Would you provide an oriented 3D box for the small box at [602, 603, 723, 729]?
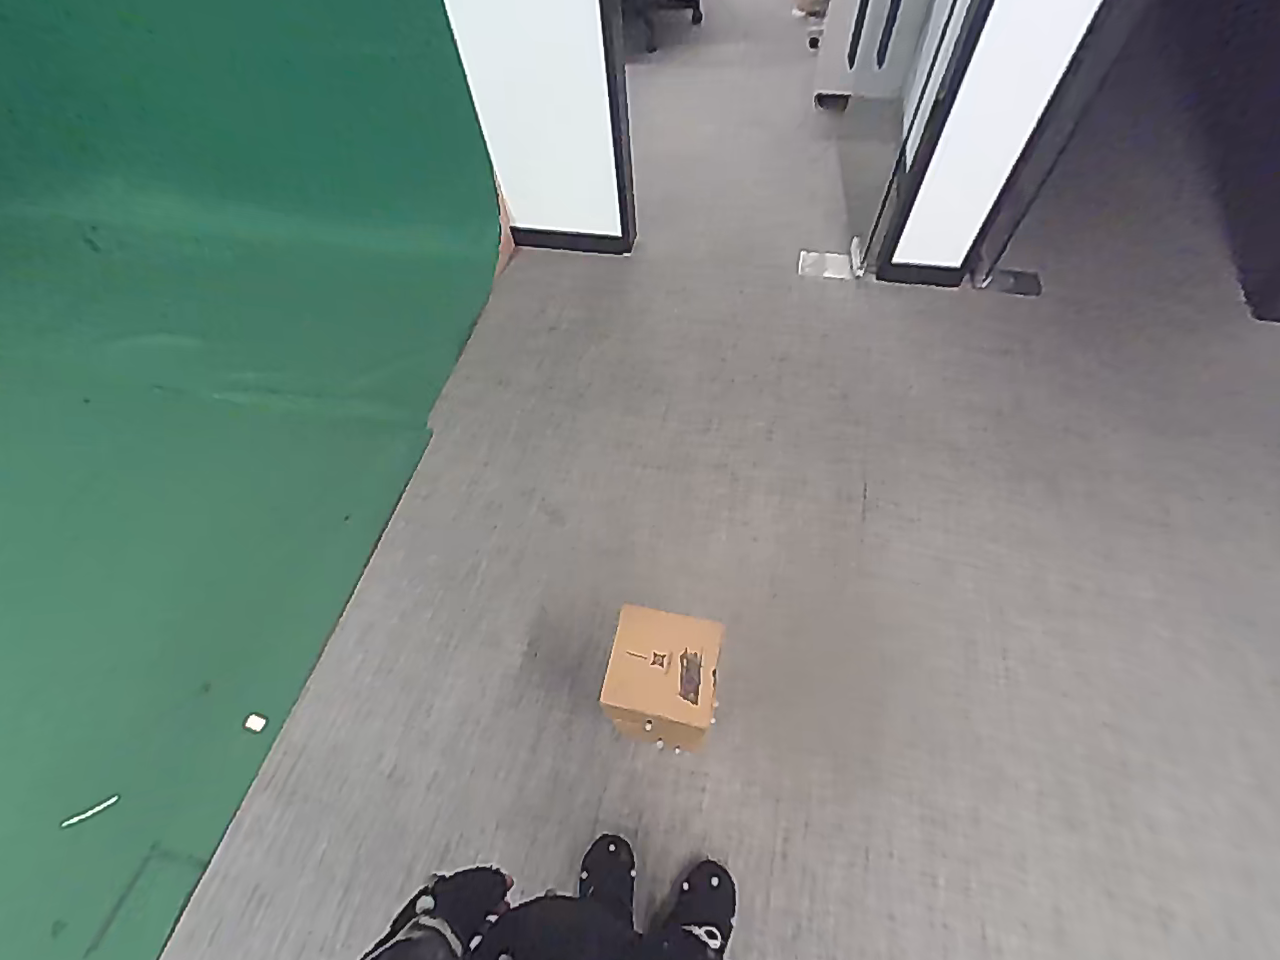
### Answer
[{"bbox_3d":[0.041,0.331,0.946,0.179,0.176,0.168,8,61,7],"label":"small box"}]

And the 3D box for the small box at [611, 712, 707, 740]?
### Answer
[{"bbox_3d":[0.053,0.415,1.086,0.179,0.176,0.168,10,61,9],"label":"small box"}]
